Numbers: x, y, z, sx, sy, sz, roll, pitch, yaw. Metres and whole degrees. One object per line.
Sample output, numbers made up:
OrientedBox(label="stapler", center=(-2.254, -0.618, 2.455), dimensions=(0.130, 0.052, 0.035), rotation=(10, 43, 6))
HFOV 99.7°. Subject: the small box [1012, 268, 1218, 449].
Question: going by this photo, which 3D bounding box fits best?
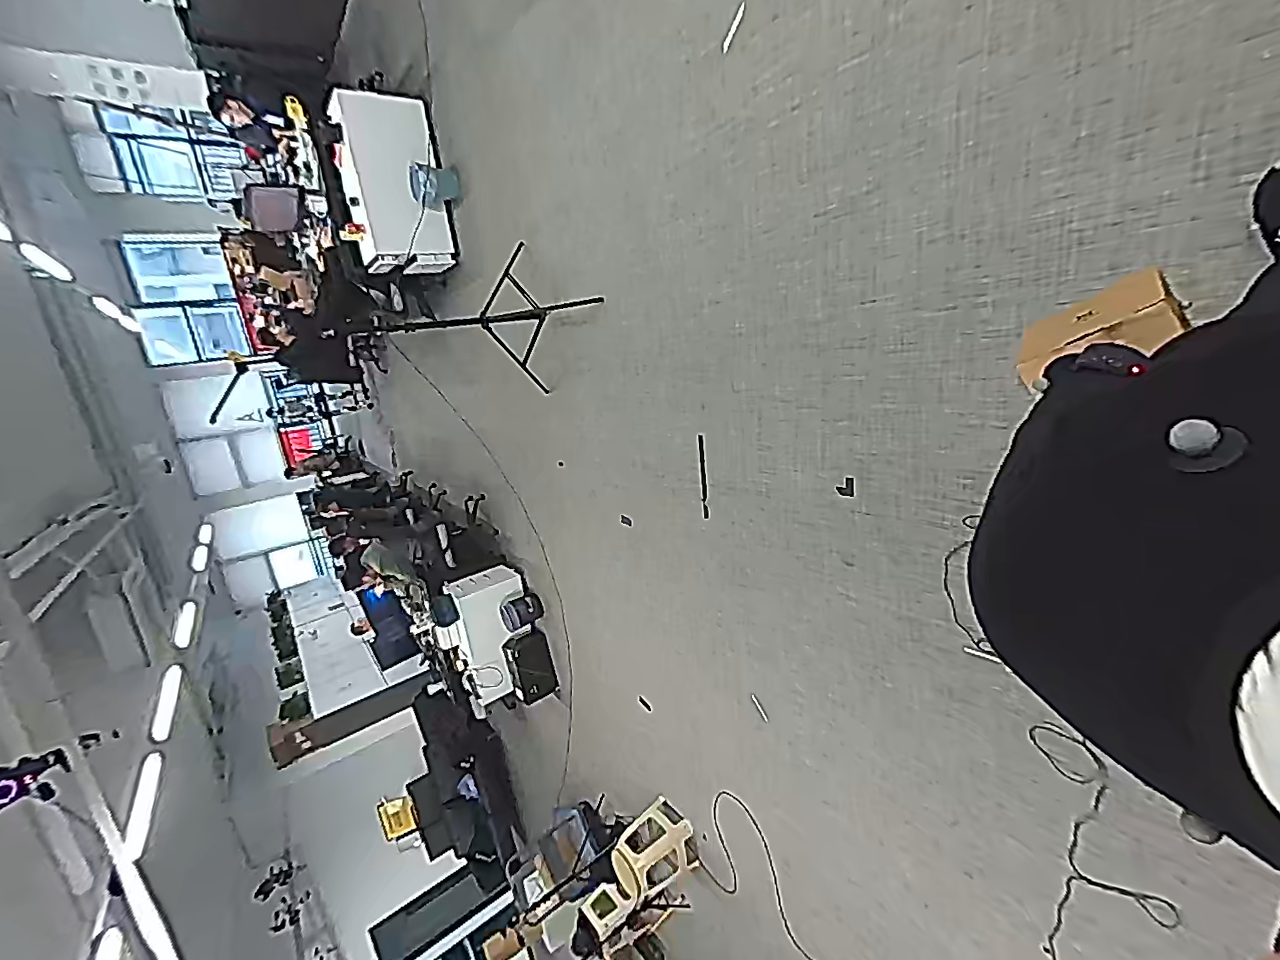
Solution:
OrientedBox(label="small box", center=(0.668, -0.163, 0.767), dimensions=(0.168, 0.179, 0.176), rotation=(-29, 98, 48))
